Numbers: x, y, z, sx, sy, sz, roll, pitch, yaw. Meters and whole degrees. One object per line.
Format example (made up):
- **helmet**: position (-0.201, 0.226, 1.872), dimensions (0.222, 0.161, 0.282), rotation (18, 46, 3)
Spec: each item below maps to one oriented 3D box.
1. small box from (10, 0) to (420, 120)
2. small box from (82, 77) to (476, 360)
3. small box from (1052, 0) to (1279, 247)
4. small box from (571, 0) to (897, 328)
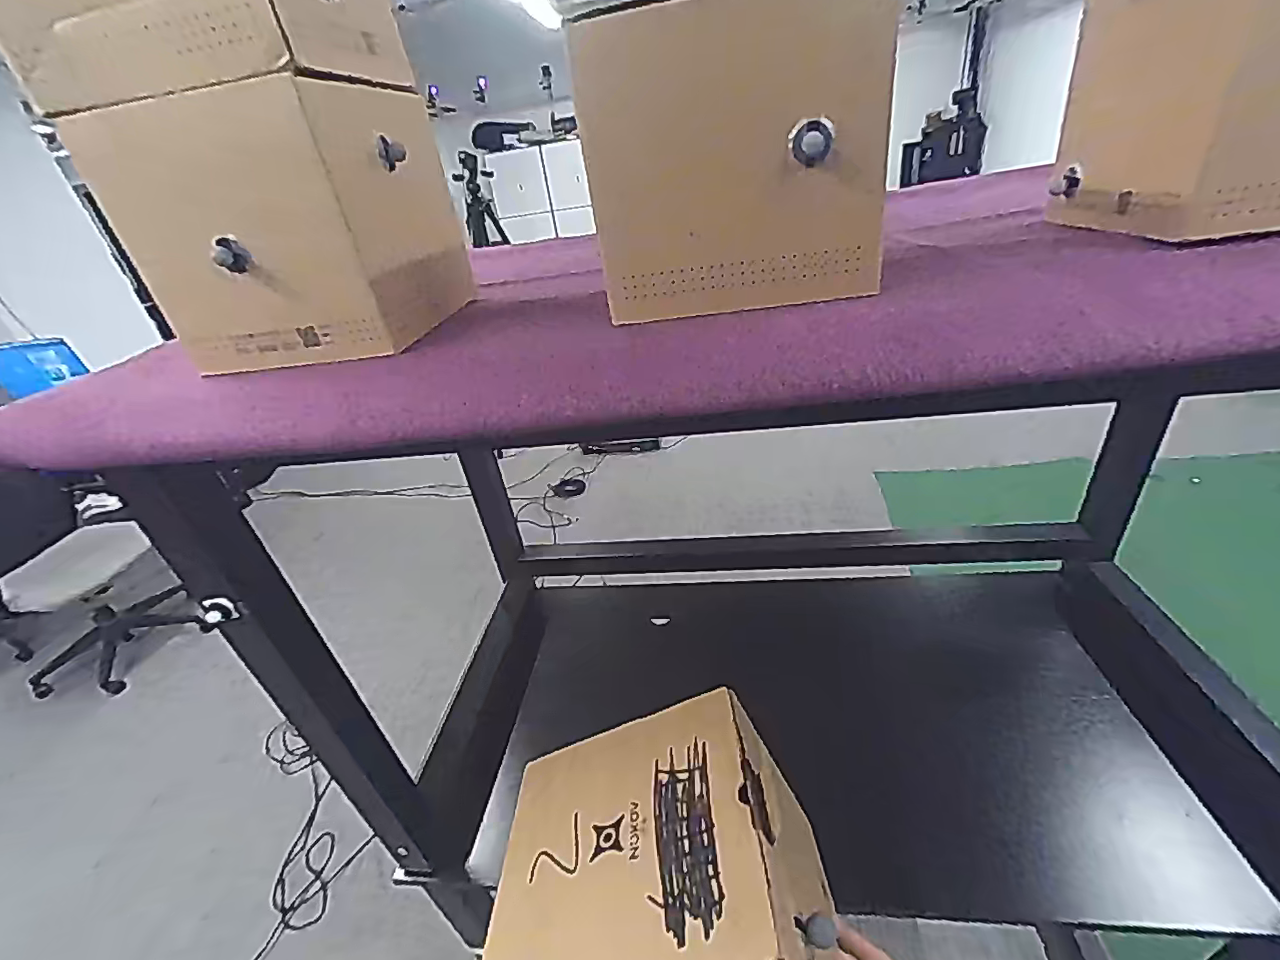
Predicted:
- **small box**: position (-0.279, -0.338, 0.353), dimensions (0.179, 0.176, 0.168), rotation (-4, 31, 6)
- **small box**: position (-0.252, -0.201, 0.437), dimensions (0.168, 0.176, 0.179), rotation (-3, 31, 8)
- **small box**: position (0.410, -0.258, 0.355), dimensions (0.179, 0.176, 0.168), rotation (-3, 28, 11)
- **small box**: position (0.065, -0.221, 0.394), dimensions (0.179, 0.176, 0.168), rotation (-5, 30, 9)
